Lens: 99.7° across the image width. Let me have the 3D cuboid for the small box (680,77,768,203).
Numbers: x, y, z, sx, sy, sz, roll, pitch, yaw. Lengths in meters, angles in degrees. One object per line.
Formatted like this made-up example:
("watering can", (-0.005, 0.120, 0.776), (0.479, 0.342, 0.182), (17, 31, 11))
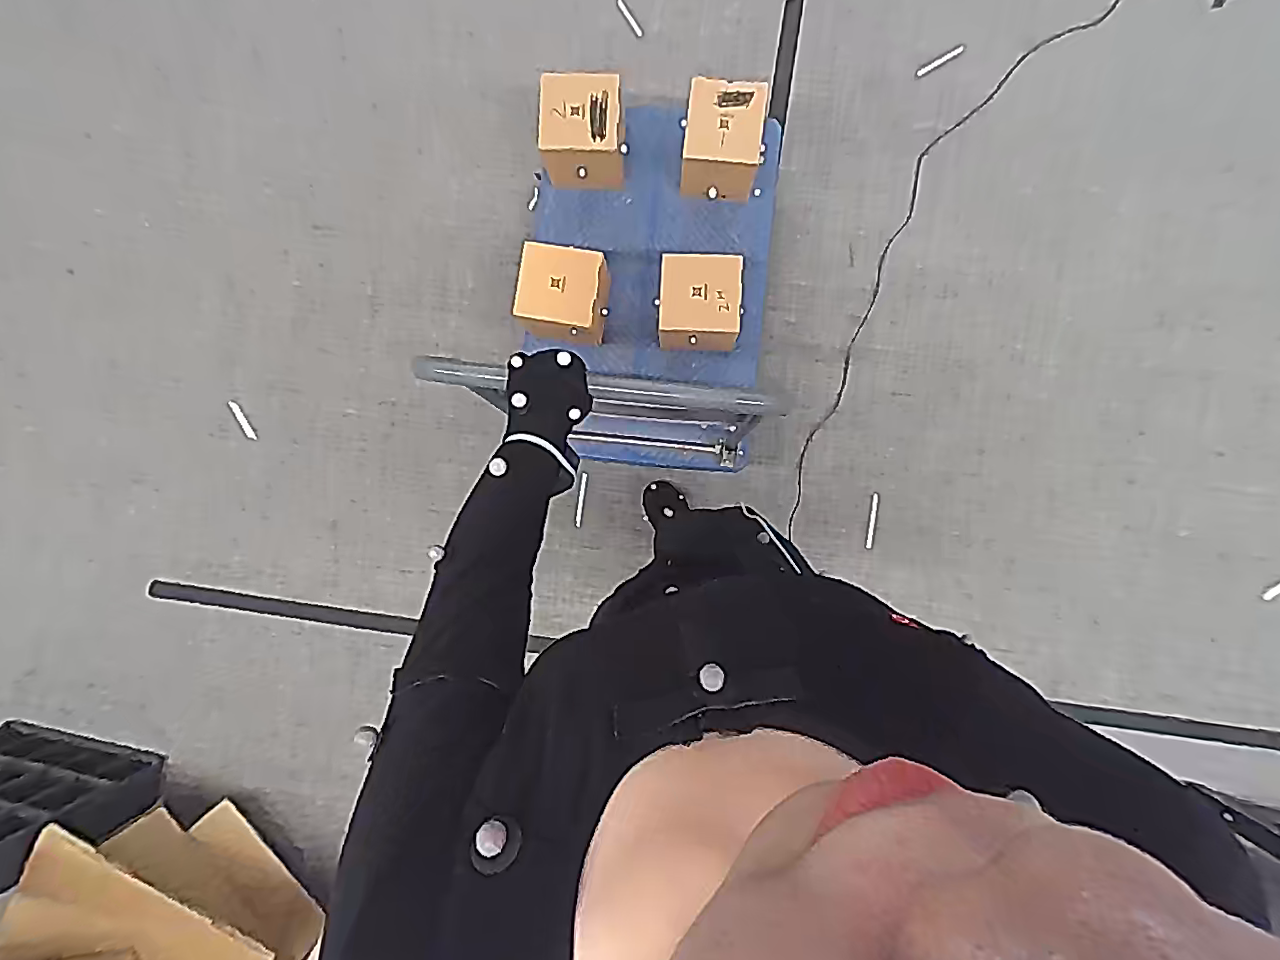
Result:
("small box", (0.184, -0.766, 1.232), (0.168, 0.176, 0.179), (7, 91, 3))

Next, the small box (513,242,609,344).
("small box", (-0.176, -0.424, 1.250), (0.179, 0.176, 0.168), (9, 90, 1))

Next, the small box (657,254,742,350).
("small box", (0.132, -0.399, 1.234), (0.179, 0.176, 0.168), (3, 90, 3))
